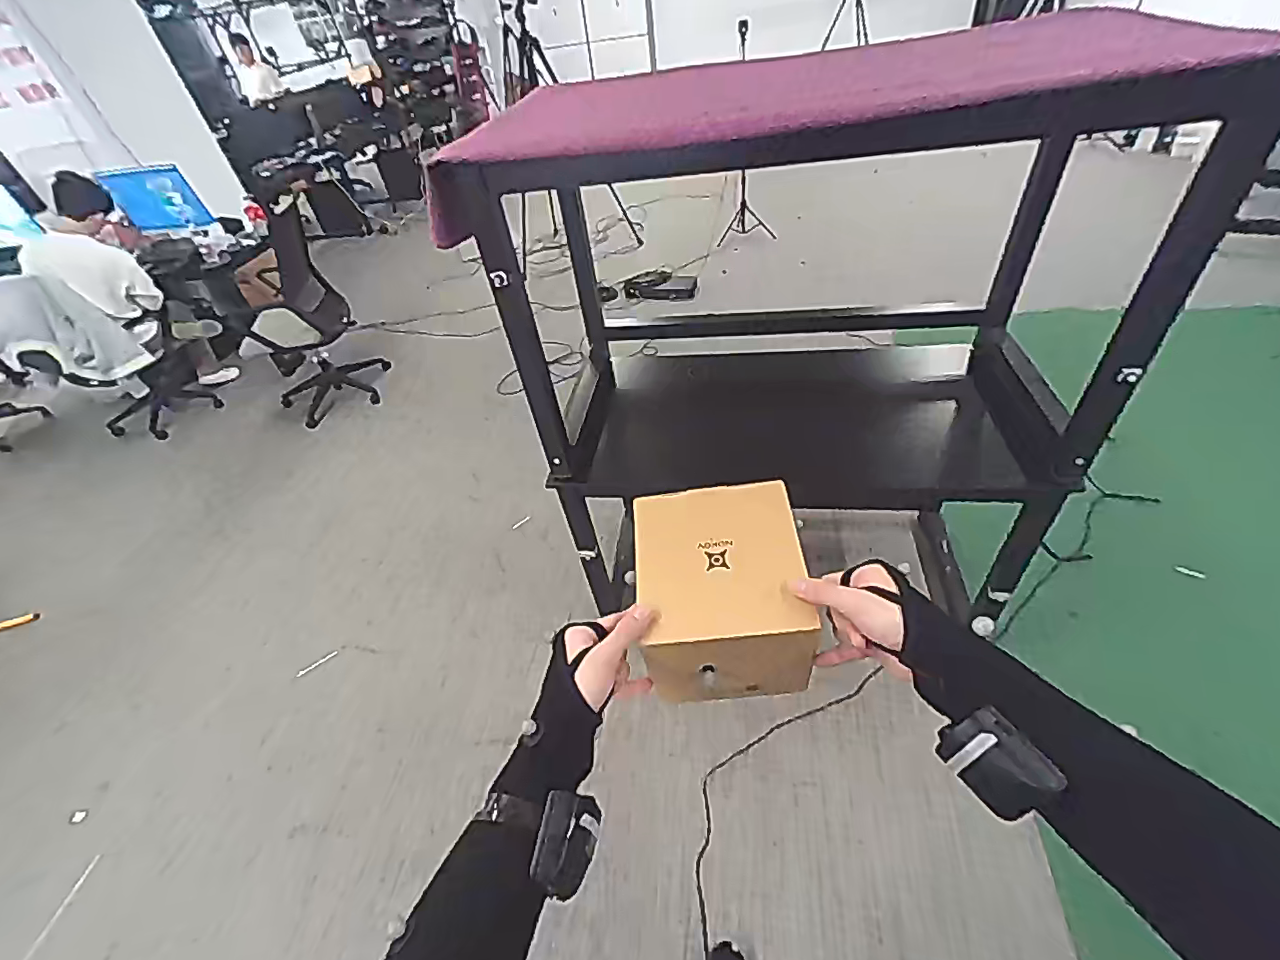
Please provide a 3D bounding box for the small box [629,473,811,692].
[{"bbox_3d":[0.083,0.119,0.591,0.168,0.176,0.179,-8,48,6],"label":"small box"}]
